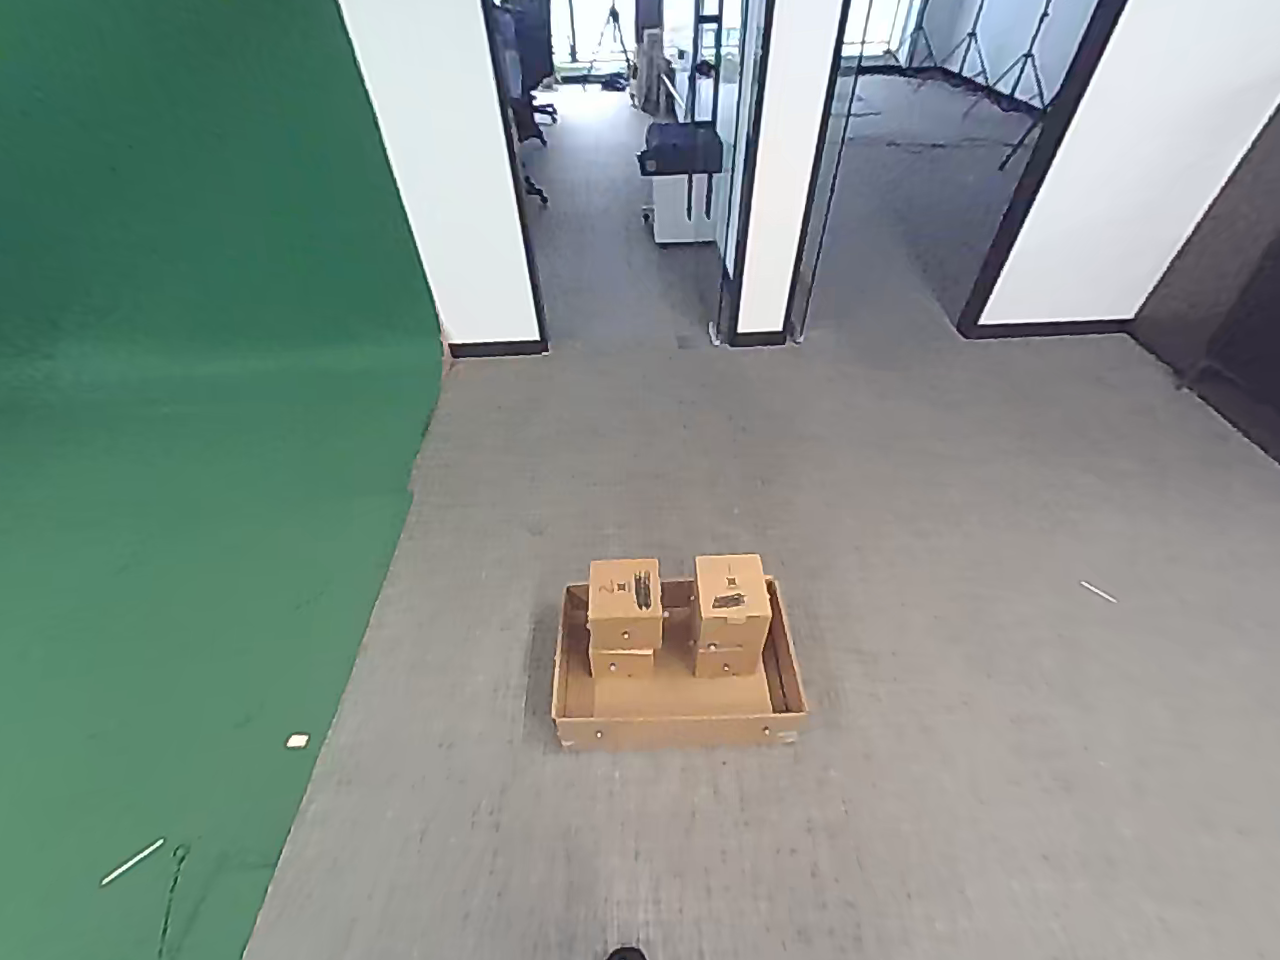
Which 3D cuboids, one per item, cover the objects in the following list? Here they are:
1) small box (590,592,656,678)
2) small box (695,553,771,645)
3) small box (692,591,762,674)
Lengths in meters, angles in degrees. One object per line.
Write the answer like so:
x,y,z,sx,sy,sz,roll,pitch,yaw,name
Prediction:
-0.042,0.429,1.487,0.168,0.176,0.179,1,46,2,small box
0.228,0.306,1.366,0.168,0.176,0.179,-2,47,1,small box
0.232,0.420,1.484,0.168,0.176,0.179,-2,47,0,small box
